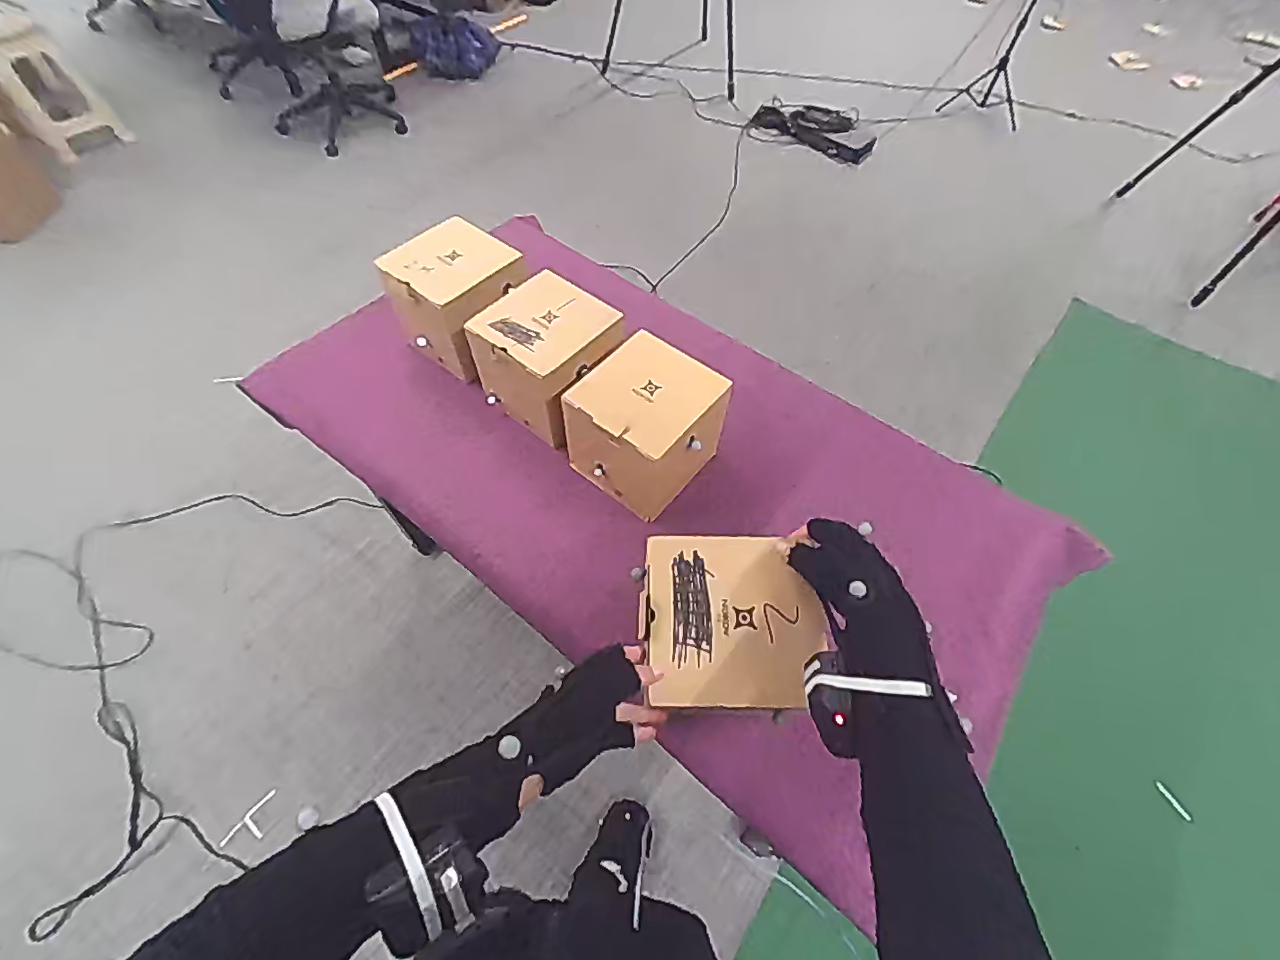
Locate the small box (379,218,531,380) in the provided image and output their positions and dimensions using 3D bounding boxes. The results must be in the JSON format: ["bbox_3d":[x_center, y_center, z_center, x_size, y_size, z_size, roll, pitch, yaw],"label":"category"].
[{"bbox_3d":[-0.307,-0.312,0.942,0.168,0.176,0.179,35,63,19],"label":"small box"}]

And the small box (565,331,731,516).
[{"bbox_3d":[0.010,-0.081,0.807,0.168,0.176,0.179,35,64,19],"label":"small box"}]
